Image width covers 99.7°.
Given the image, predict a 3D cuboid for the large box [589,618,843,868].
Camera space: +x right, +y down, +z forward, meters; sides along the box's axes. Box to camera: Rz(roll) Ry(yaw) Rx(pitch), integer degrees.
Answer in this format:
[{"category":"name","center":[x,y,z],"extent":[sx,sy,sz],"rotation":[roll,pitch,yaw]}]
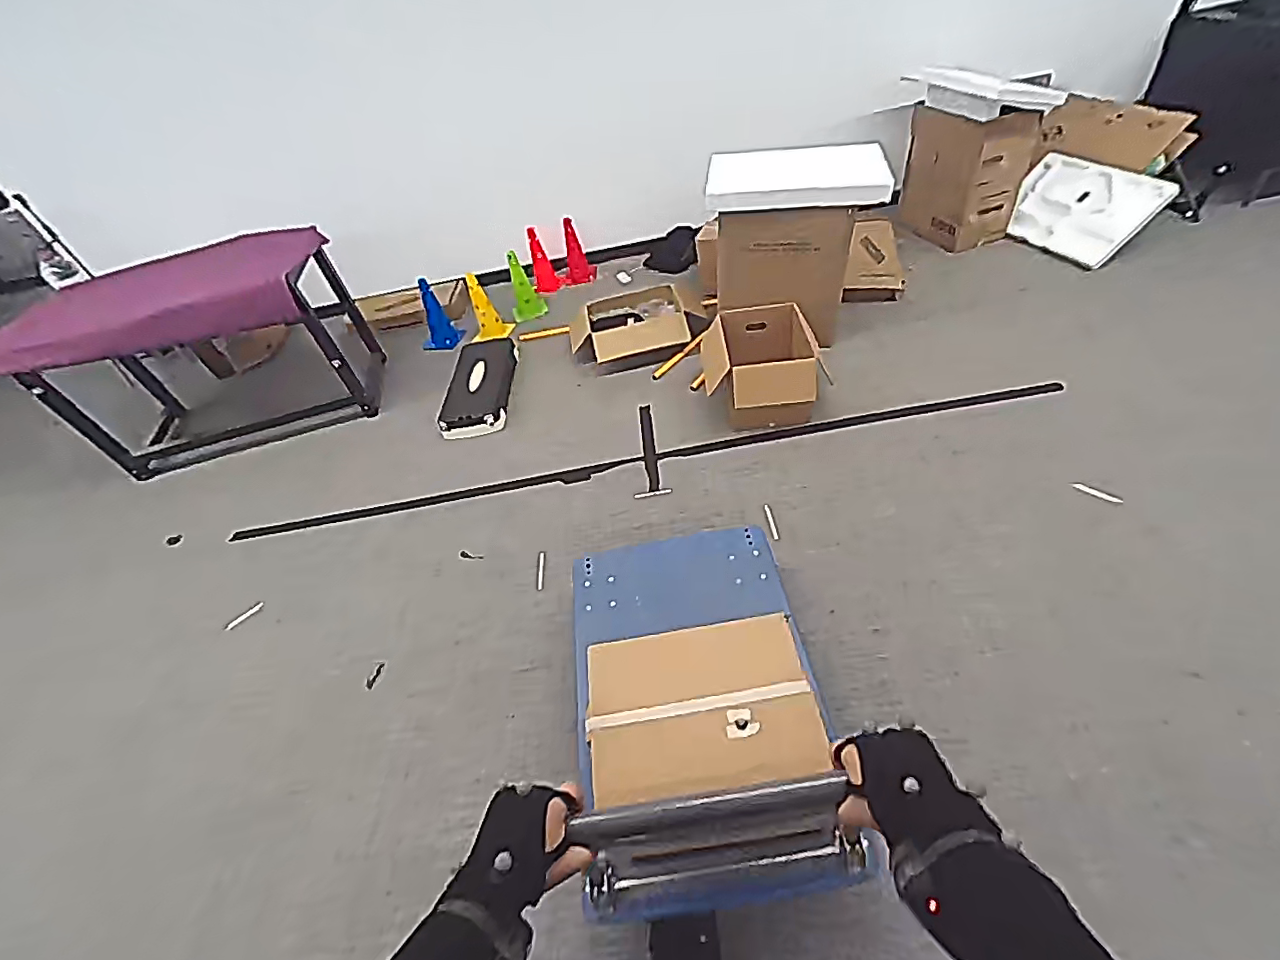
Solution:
[{"category":"large box","center":[0.130,0.518,1.062],"extent":[0.408,0.320,0.320],"rotation":[-10,45,1]}]
